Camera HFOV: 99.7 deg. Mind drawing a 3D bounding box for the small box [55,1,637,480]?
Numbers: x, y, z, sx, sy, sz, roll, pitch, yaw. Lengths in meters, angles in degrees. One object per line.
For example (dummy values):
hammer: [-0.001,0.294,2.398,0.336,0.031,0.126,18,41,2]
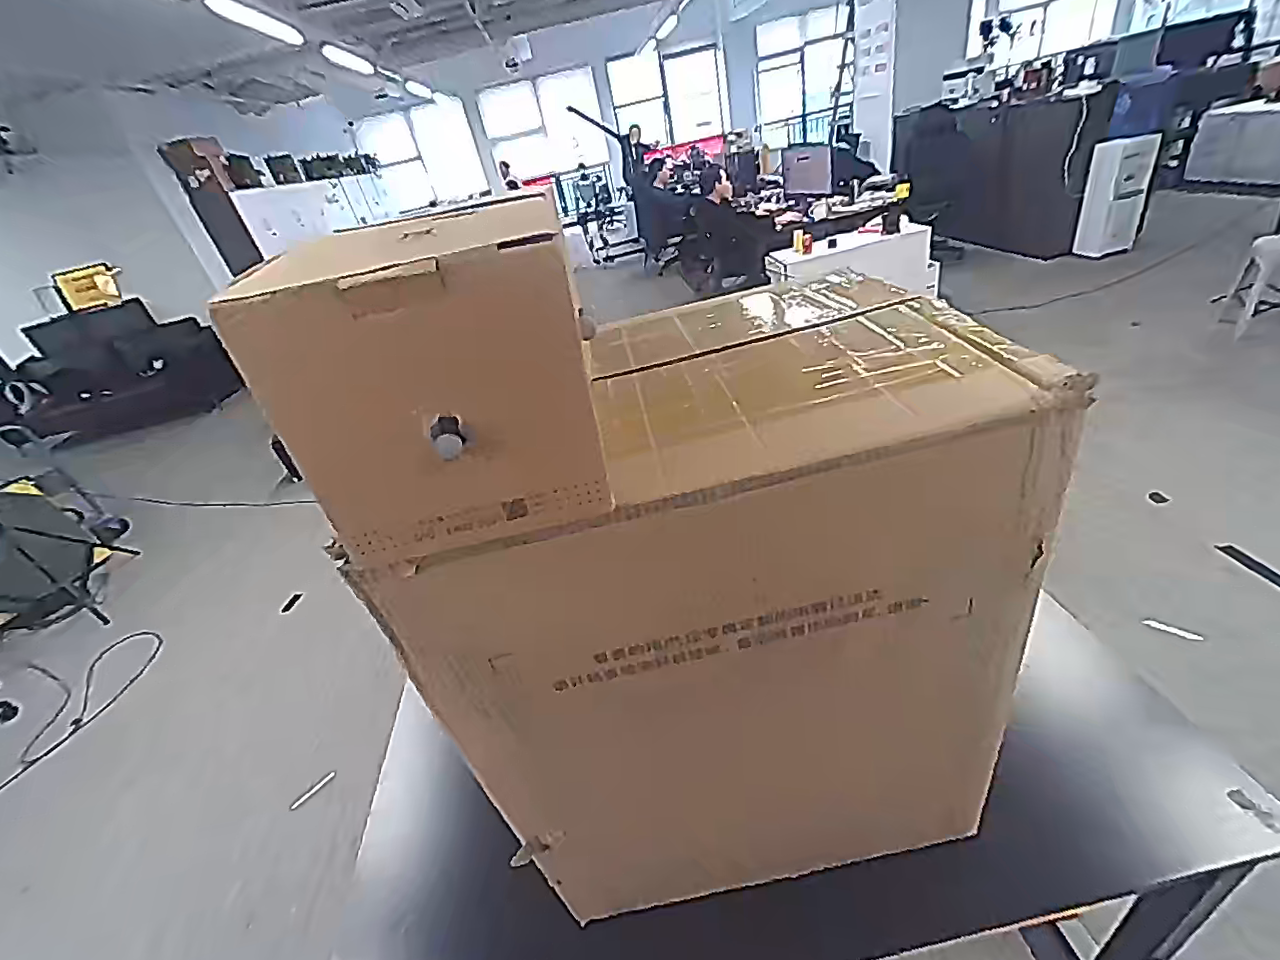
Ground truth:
small box: [-0.104,-0.115,0.282,0.168,0.176,0.179,-13,36,-6]
